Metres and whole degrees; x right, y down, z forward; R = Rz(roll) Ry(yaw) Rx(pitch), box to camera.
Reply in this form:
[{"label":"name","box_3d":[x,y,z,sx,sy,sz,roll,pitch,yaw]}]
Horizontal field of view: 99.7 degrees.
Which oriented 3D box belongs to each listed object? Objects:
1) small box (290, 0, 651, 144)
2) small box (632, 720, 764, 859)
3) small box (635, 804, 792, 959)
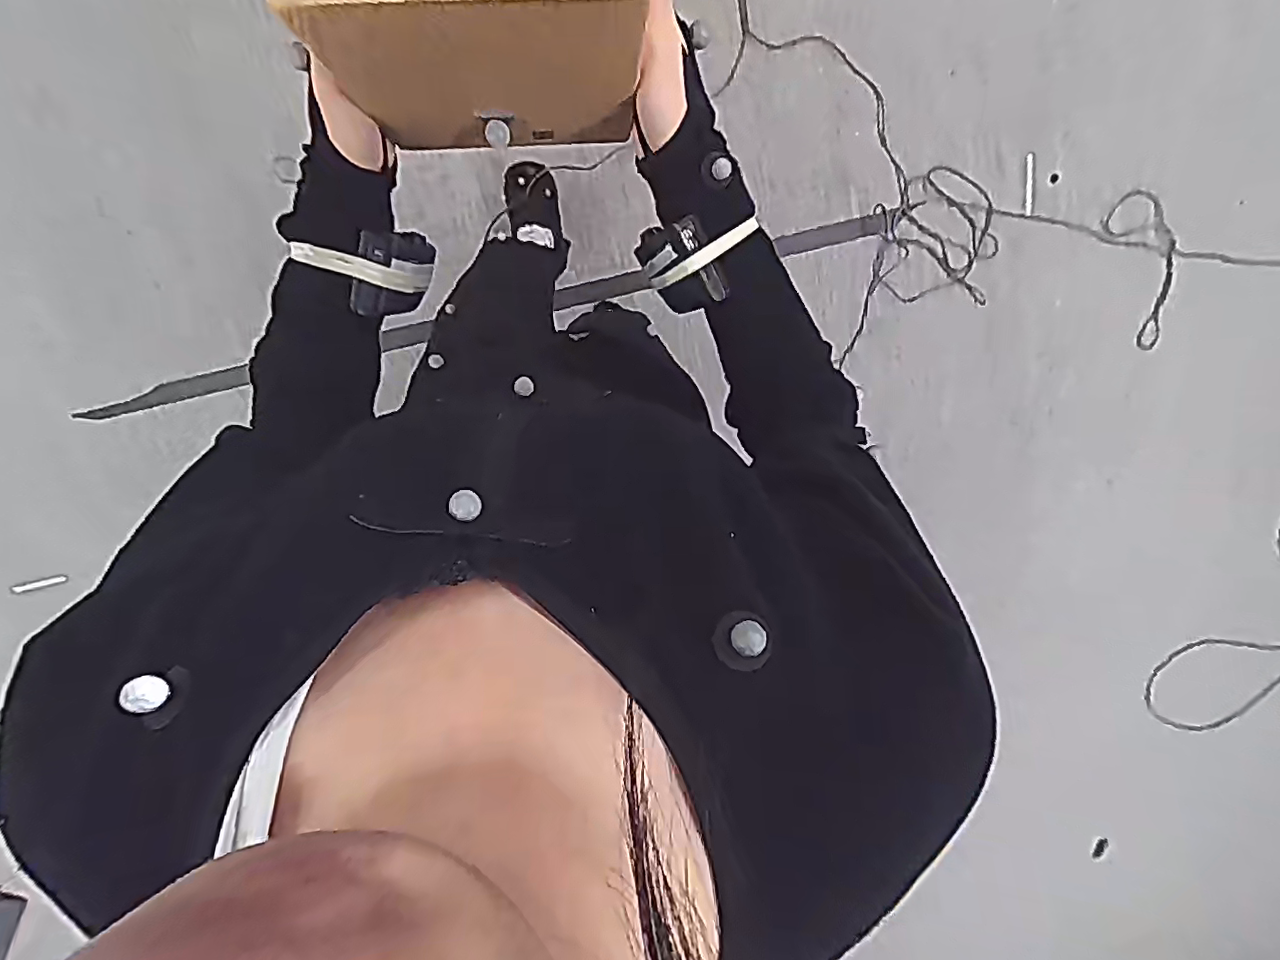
[{"label":"small box","box_3d":[-0.087,-0.309,0.290,0.168,0.176,0.179,-5,104,-3]},{"label":"small box","box_3d":[0.088,0.524,0.888,0.168,0.176,0.179,-17,112,3]},{"label":"small box","box_3d":[0.096,0.576,0.734,0.168,0.176,0.179,-19,112,4]}]
